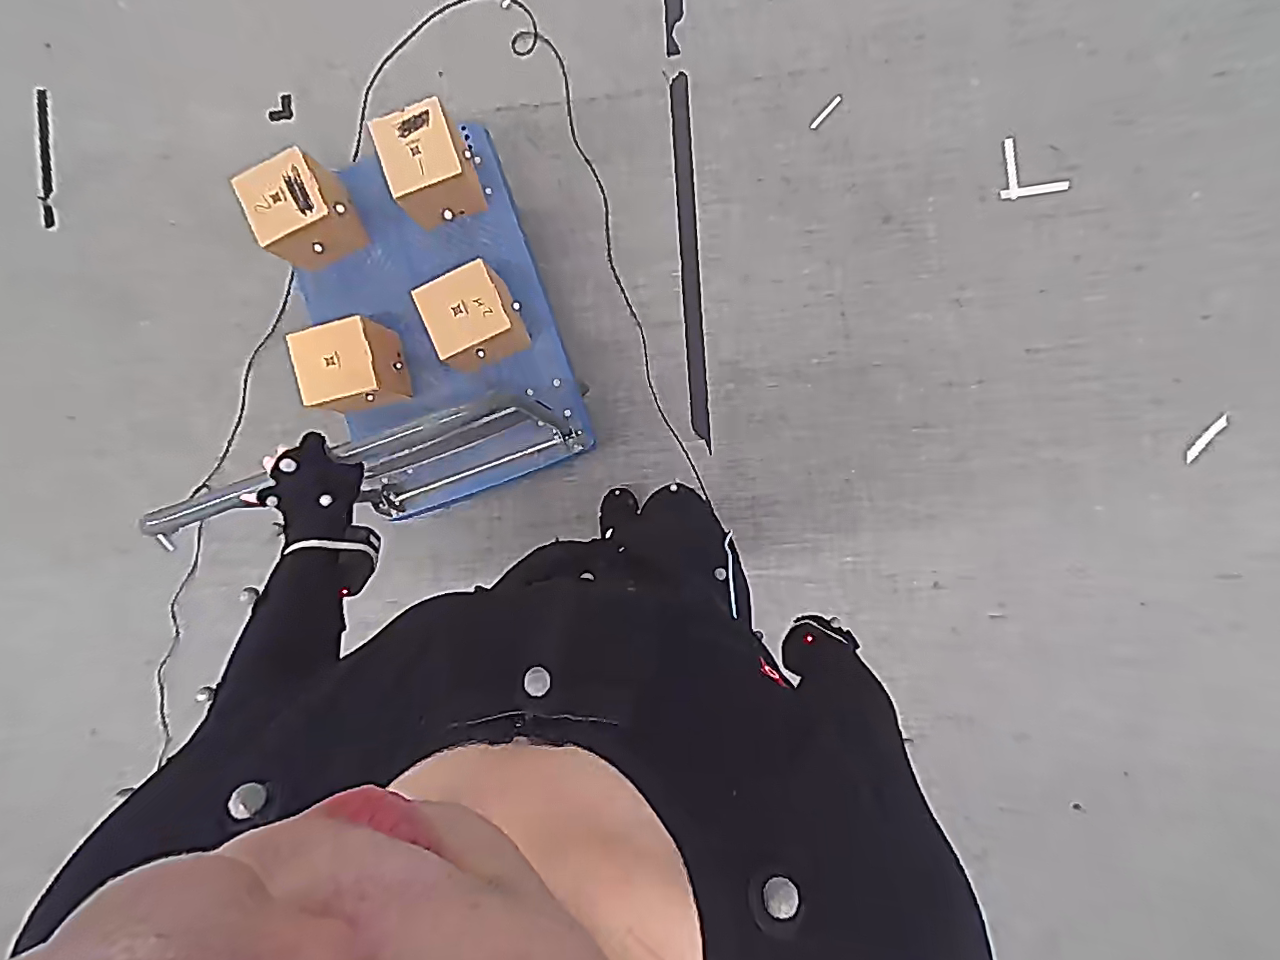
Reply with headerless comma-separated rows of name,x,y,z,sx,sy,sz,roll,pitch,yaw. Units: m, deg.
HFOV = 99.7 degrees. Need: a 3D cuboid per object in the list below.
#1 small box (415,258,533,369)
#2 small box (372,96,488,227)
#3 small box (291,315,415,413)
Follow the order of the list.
small box,-0.372,-0.370,1.241,0.179,0.176,0.168,-24,90,4
small box,-0.471,-0.718,1.237,0.168,0.176,0.179,-19,92,4
small box,-0.660,-0.261,1.262,0.179,0.176,0.168,-15,90,2
